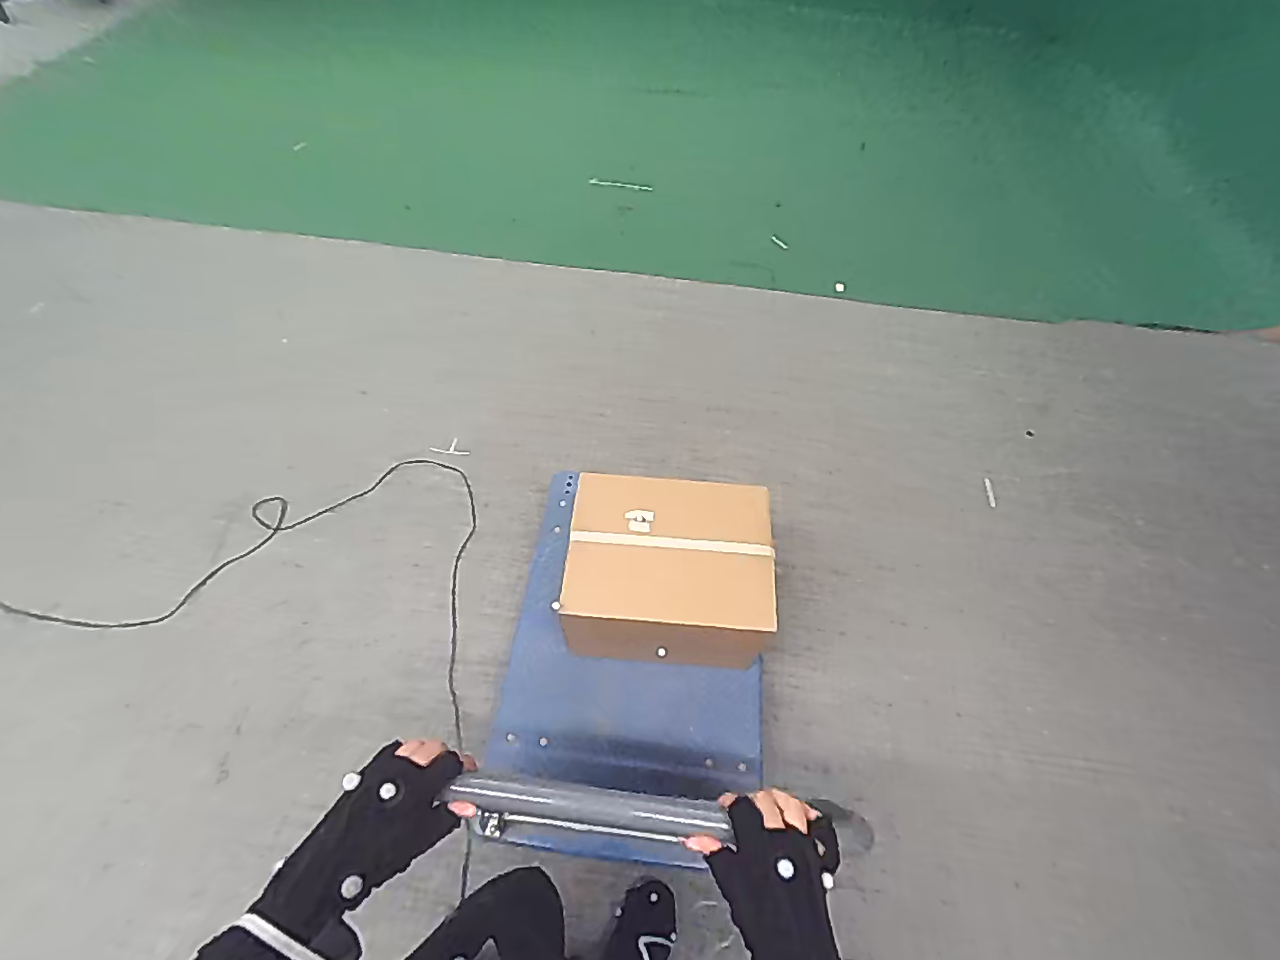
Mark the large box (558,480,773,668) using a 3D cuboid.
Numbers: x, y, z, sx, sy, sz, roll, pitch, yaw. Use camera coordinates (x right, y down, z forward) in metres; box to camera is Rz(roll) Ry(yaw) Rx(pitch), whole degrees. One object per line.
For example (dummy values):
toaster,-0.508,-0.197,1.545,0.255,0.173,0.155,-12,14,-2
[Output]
large box,0.055,0.218,1.197,0.408,0.320,0.320,4,57,2
